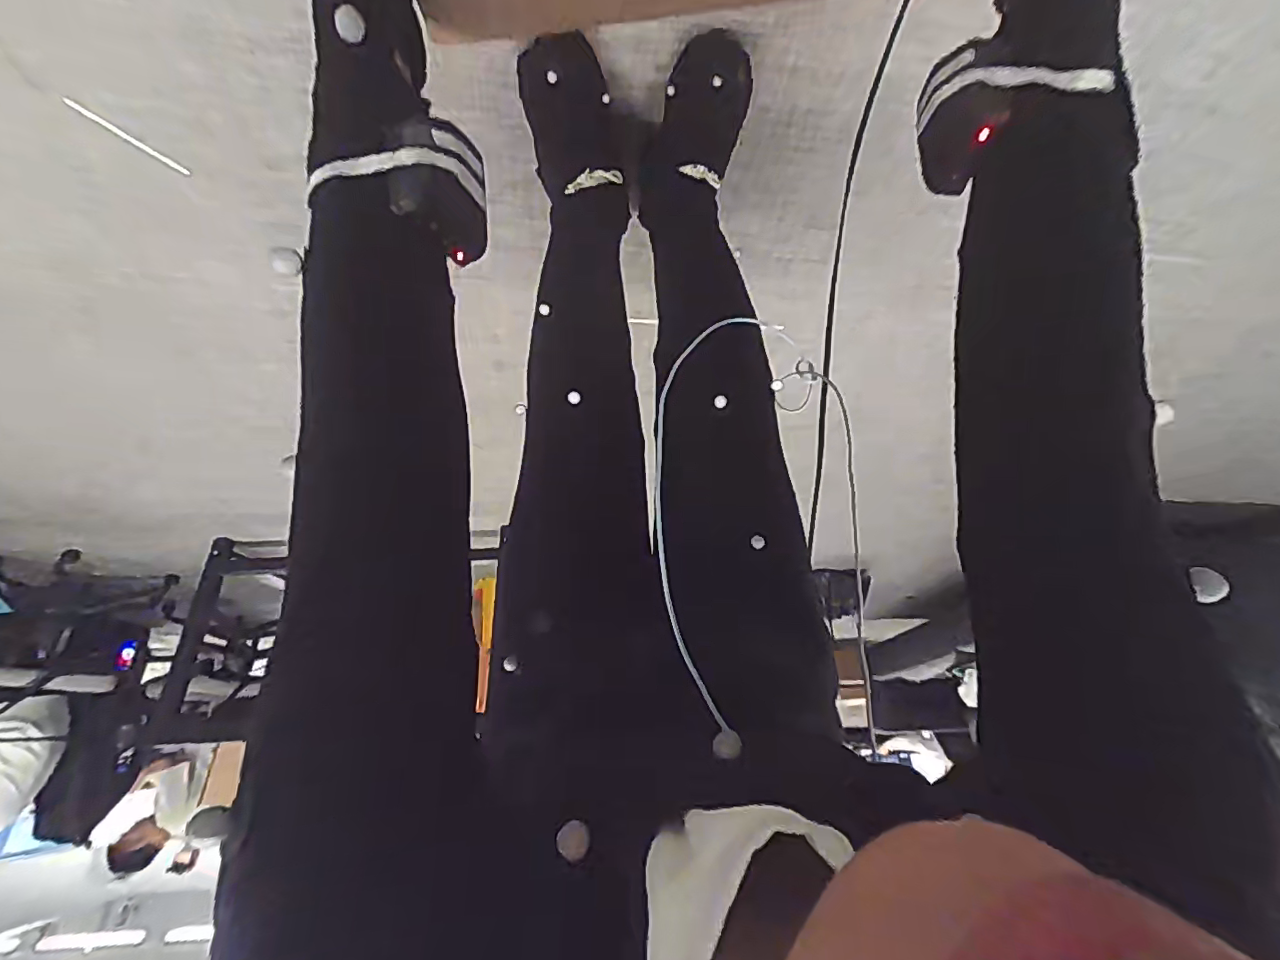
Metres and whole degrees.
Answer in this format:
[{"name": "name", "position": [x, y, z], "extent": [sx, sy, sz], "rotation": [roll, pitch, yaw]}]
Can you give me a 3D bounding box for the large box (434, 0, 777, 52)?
[{"name": "large box", "position": [0.025, -0.553, 0.354], "extent": [0.408, 0.320, 0.320], "rotation": [-5, 148, 4]}]
